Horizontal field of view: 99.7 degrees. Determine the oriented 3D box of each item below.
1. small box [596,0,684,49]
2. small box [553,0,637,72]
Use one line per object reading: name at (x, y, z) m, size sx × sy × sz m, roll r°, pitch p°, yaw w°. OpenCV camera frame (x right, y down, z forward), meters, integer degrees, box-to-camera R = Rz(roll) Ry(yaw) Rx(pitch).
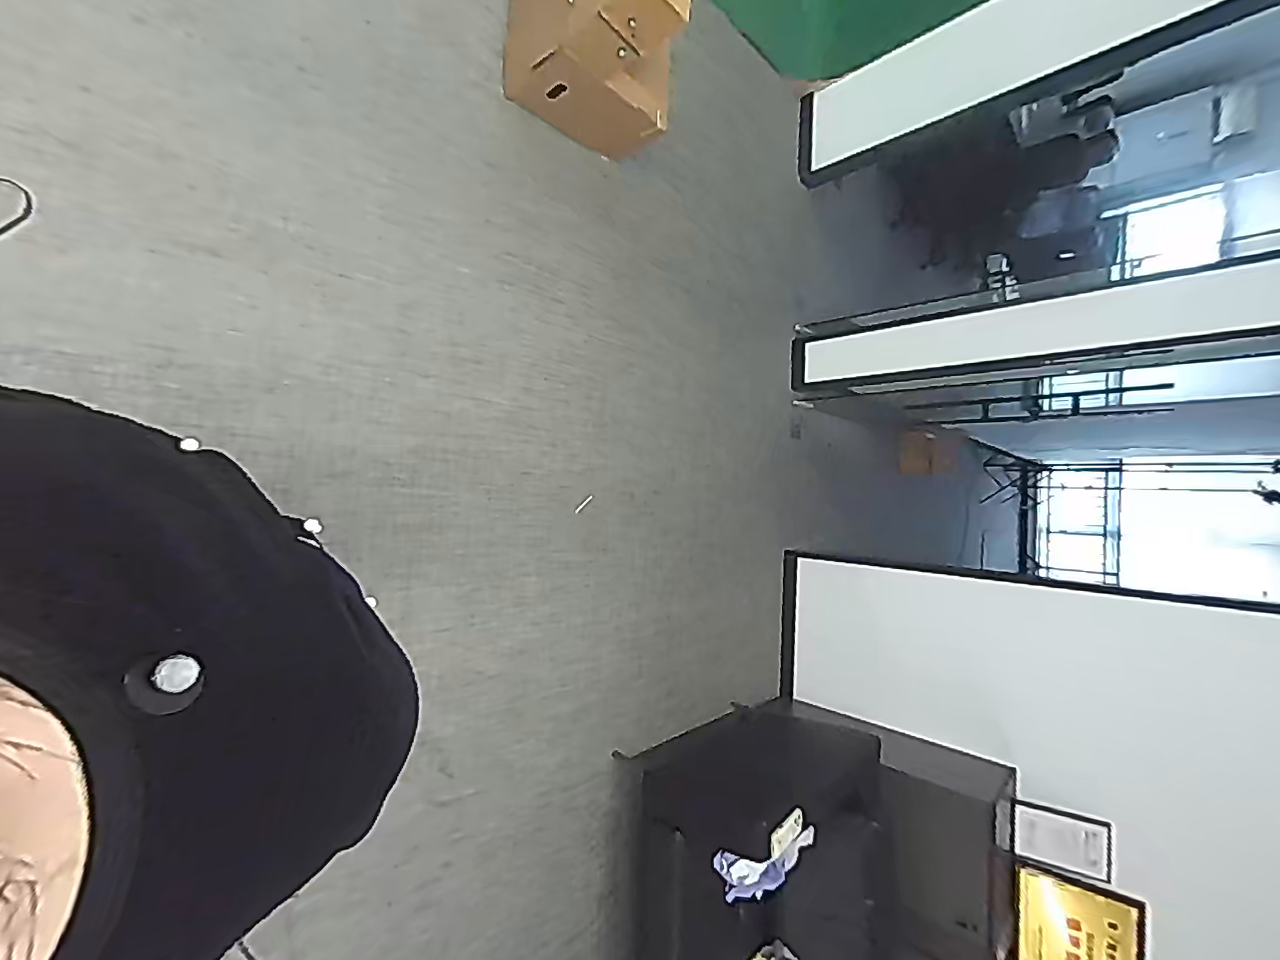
small box at (0.001, -1.290, 1.406) m, size 0.168 × 0.176 × 0.179 m, roll 7°, pitch 87°, yaw -47°
small box at (-0.119, -1.296, 1.516) m, size 0.179 × 0.176 × 0.168 m, roll 6°, pitch 87°, yaw -46°
